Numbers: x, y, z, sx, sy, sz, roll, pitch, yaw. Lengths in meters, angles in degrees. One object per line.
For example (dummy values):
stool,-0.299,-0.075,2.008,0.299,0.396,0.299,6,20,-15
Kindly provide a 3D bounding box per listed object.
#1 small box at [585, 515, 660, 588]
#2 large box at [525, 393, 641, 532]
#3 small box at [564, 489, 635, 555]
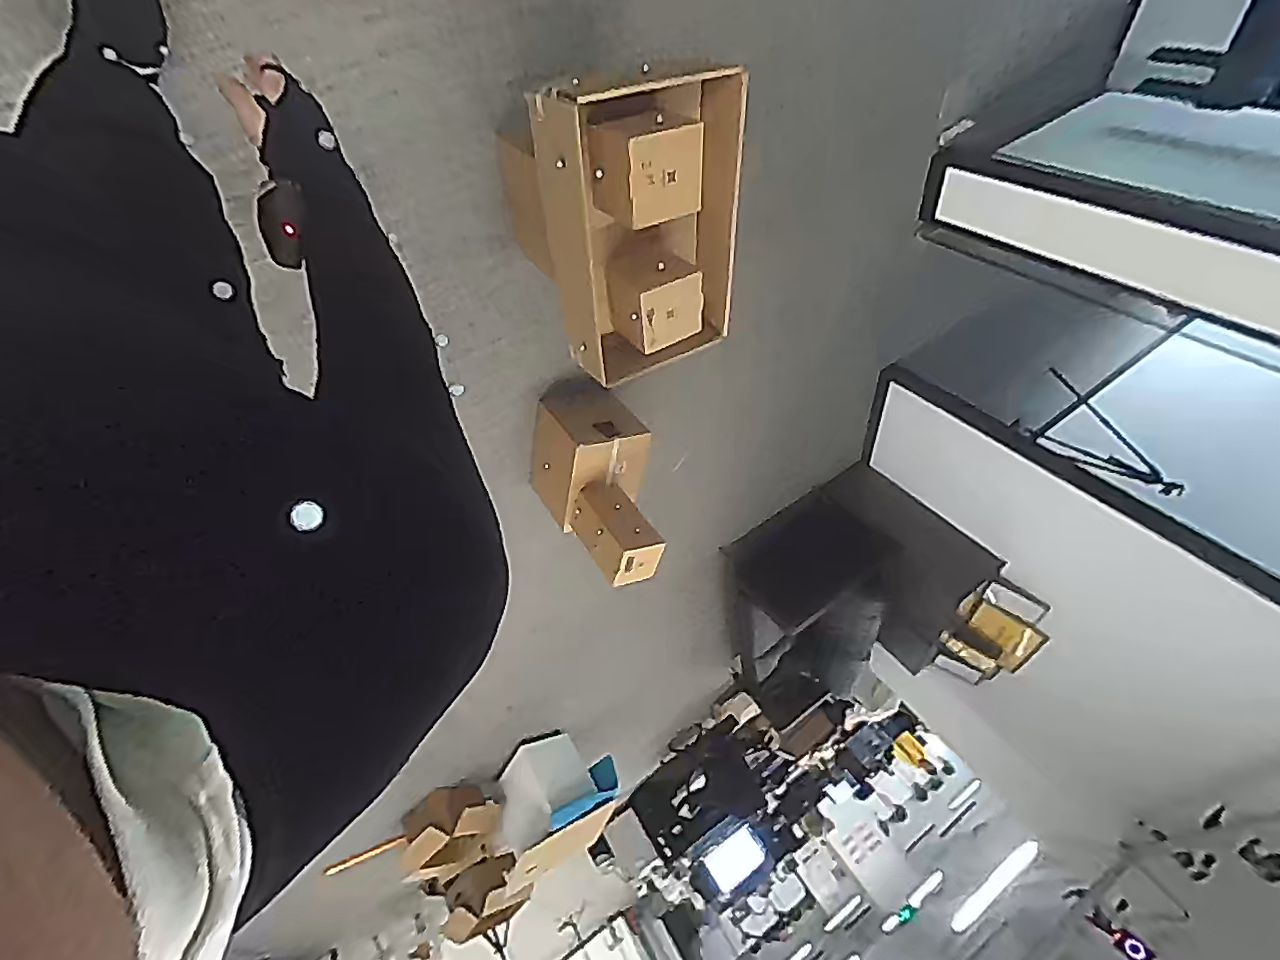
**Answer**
small box,-0.066,0.240,1.864,0.179,0.176,0.168,-8,130,-38
large box,-0.233,-0.076,2.084,0.320,0.320,0.408,-15,134,-34
small box,-0.150,0.146,1.969,0.179,0.176,0.168,-7,130,-36
